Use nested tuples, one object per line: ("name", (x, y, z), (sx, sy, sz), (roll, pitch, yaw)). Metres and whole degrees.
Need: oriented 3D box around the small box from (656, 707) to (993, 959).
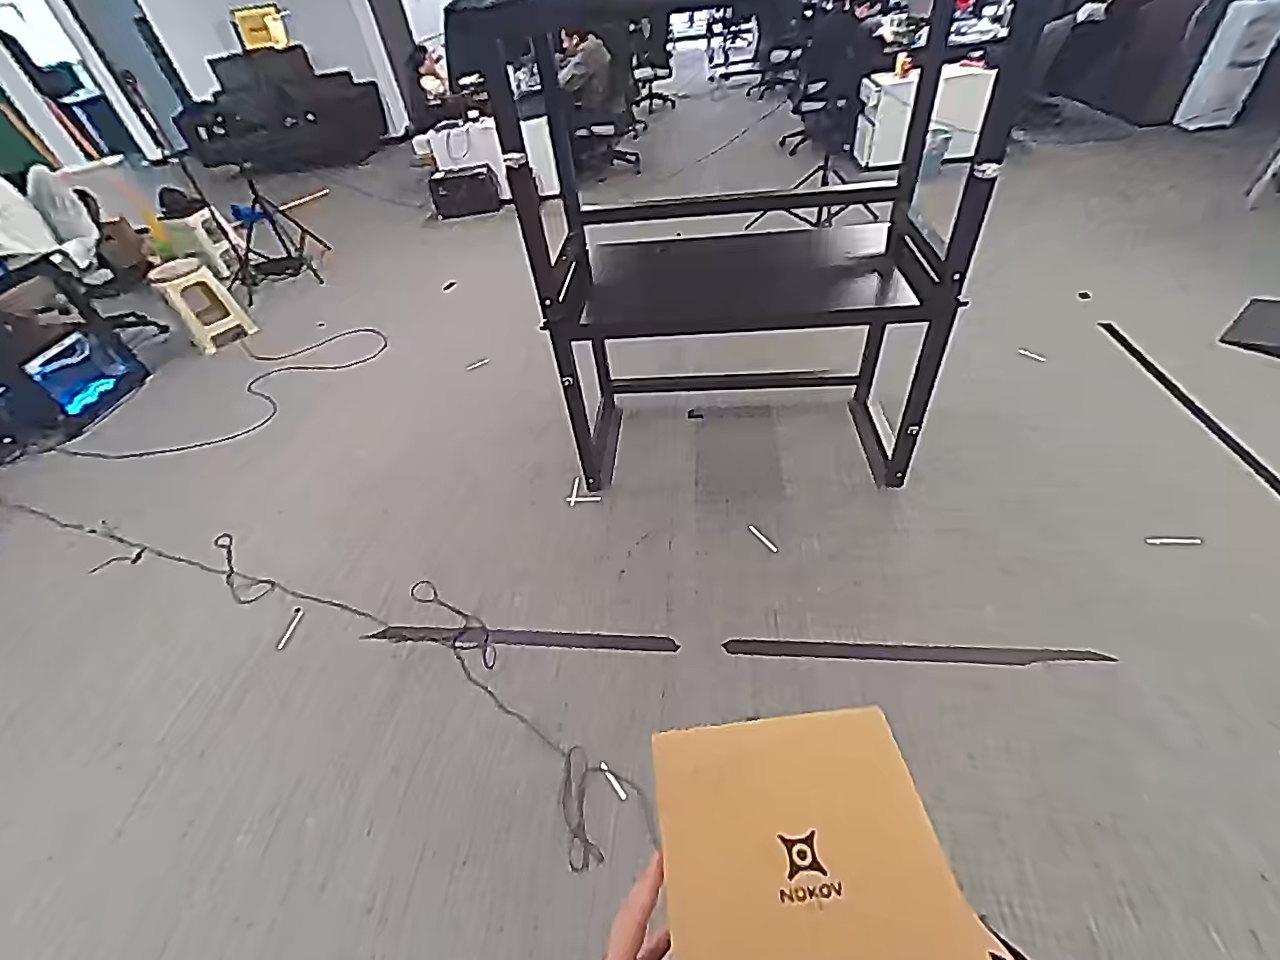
("small box", (0.102, 0.285, 0.367), (0.168, 0.176, 0.179), (-7, 40, -1))
